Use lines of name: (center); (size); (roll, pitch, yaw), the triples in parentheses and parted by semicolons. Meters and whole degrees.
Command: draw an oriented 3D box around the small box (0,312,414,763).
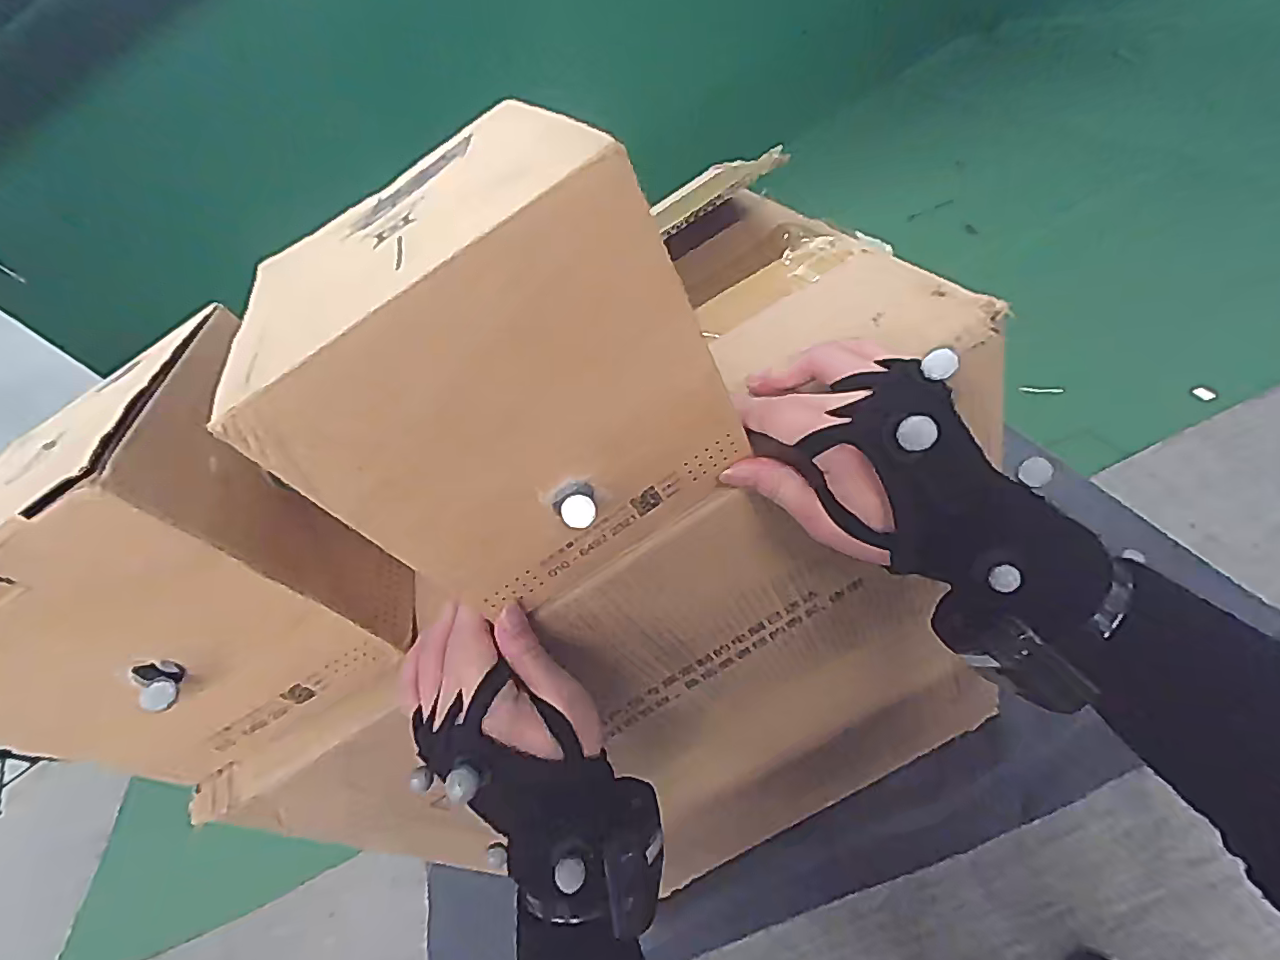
small box: (-0.254, 0.042, 0.320); (0.168, 0.176, 0.179); (-31, 43, 6)

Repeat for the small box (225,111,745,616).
small box: (-0.069, -0.061, 0.294); (0.168, 0.176, 0.179); (-34, 45, 1)
